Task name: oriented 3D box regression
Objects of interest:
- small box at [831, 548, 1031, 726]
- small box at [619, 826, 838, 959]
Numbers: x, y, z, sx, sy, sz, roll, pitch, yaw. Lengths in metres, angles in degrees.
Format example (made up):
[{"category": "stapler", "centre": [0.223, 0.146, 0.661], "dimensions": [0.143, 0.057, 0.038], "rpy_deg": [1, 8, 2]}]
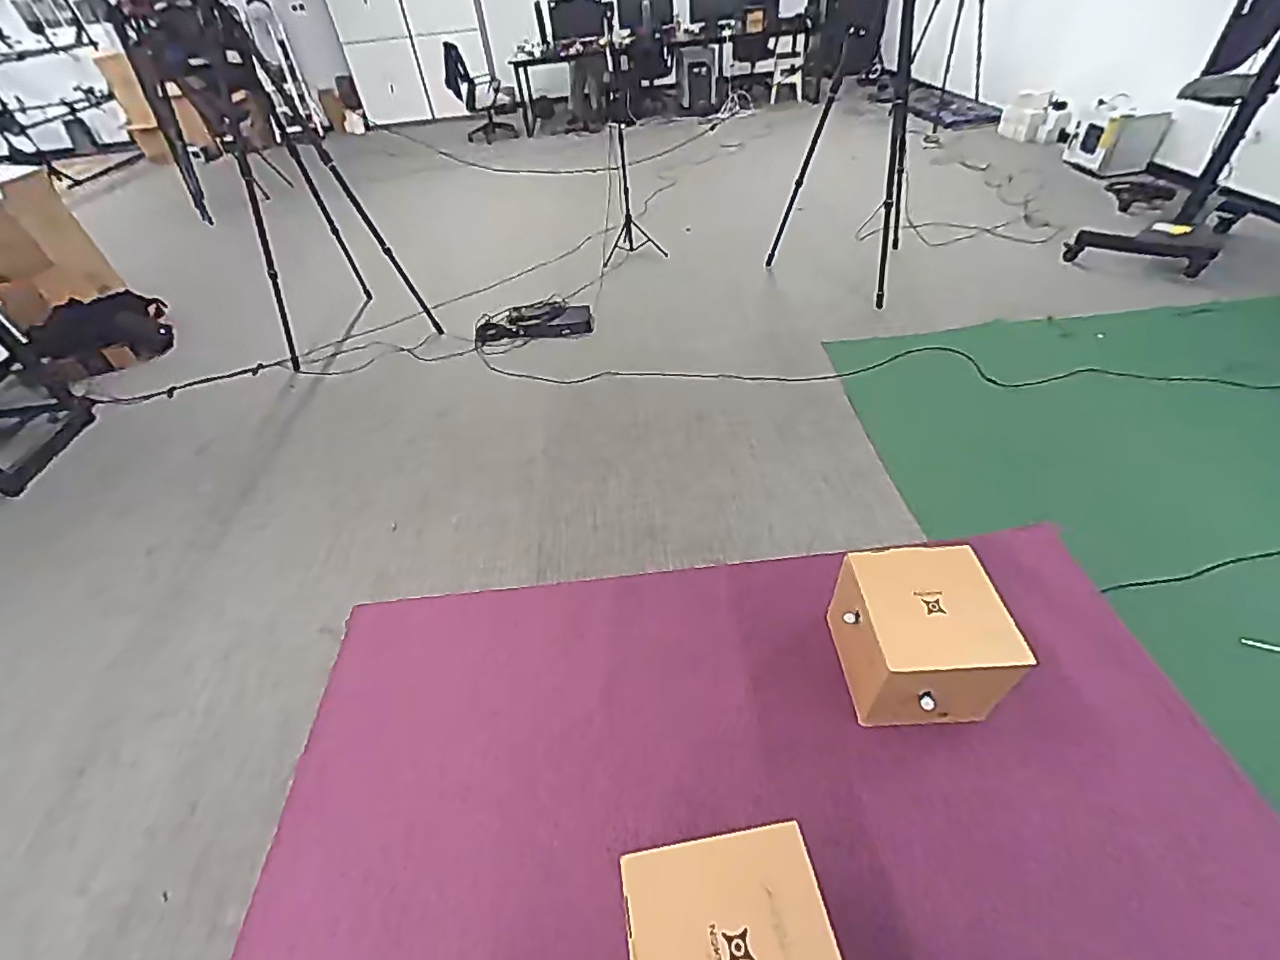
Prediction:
[{"category": "small box", "centre": [0.369, 0.215, 0.727], "dimensions": [0.168, 0.176, 0.179], "rpy_deg": [-5, 43, 4]}, {"category": "small box", "centre": [0.081, 0.457, 0.510], "dimensions": [0.179, 0.176, 0.168], "rpy_deg": [-8, 44, -4]}]
